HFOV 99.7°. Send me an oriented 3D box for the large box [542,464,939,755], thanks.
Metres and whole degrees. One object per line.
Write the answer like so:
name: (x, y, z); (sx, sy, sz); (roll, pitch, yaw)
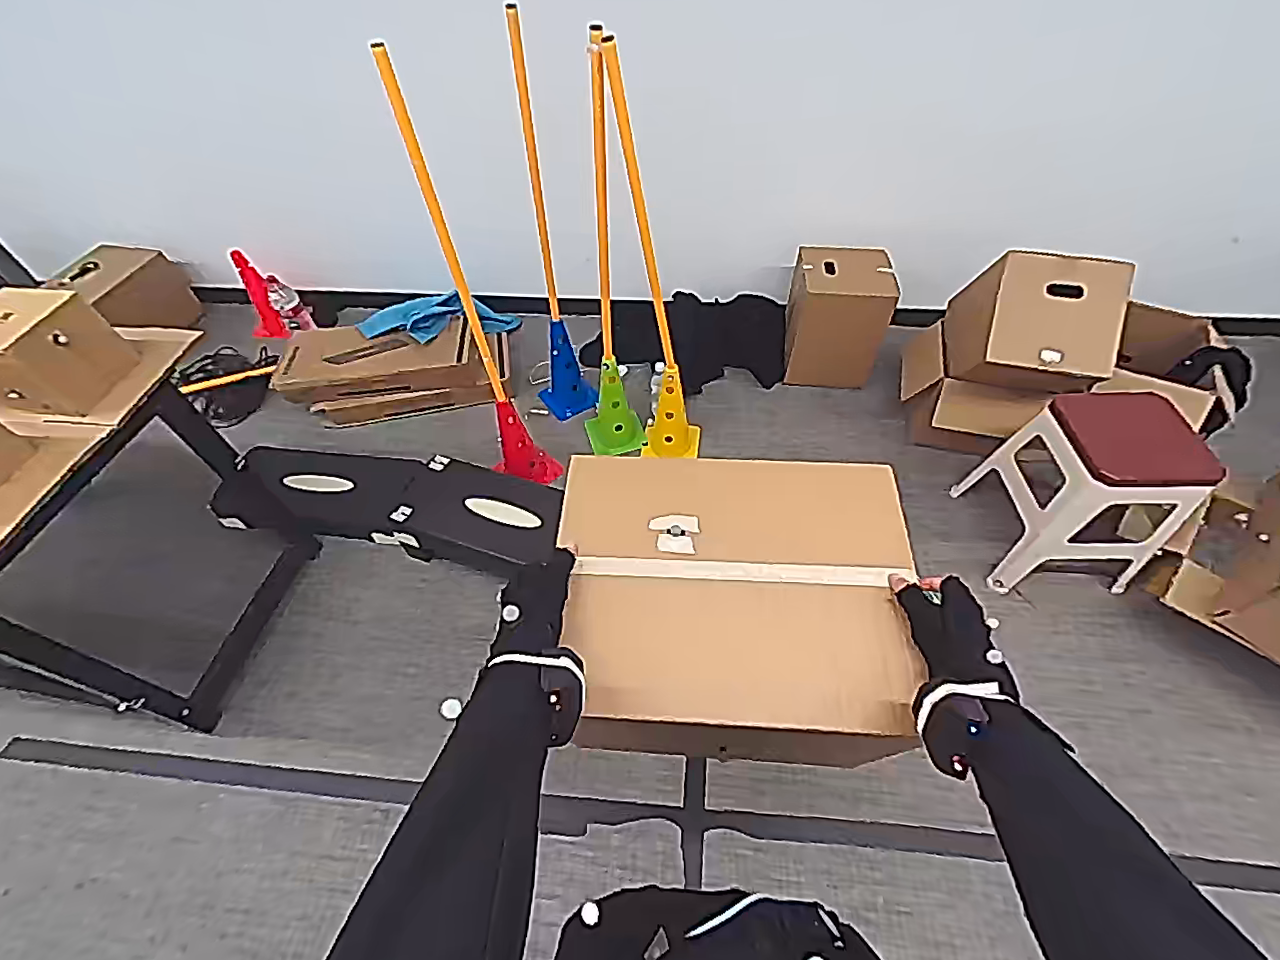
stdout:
large box: (0.112, 0.190, 0.744); (0.408, 0.320, 0.320); (2, 57, 4)
